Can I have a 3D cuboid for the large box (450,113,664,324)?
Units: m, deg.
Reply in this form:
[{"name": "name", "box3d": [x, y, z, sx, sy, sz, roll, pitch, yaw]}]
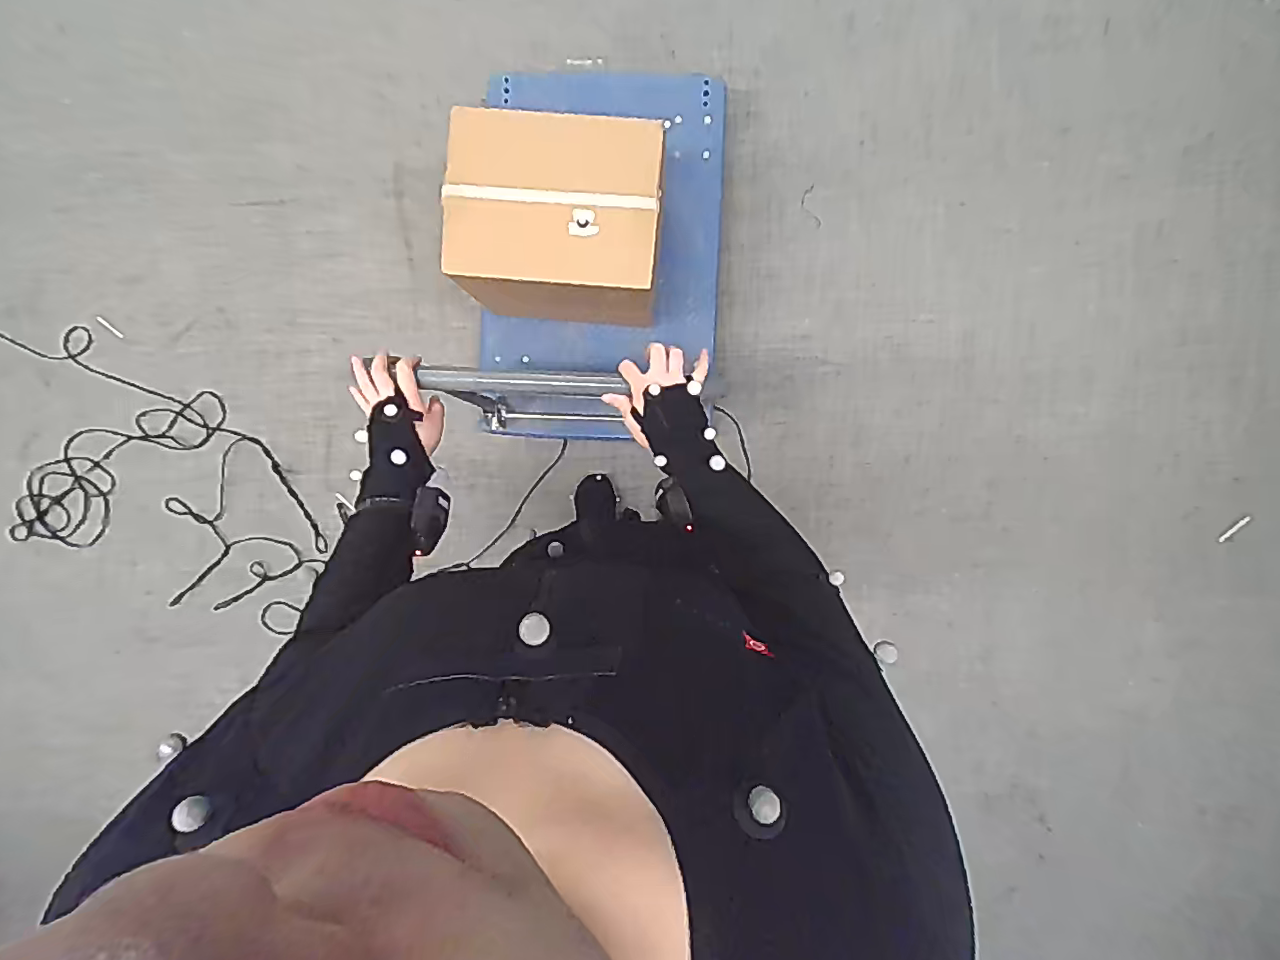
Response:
[{"name": "large box", "box3d": [-0.160, -0.544, 1.185, 0.408, 0.320, 0.320, 4, 93, 1]}]
